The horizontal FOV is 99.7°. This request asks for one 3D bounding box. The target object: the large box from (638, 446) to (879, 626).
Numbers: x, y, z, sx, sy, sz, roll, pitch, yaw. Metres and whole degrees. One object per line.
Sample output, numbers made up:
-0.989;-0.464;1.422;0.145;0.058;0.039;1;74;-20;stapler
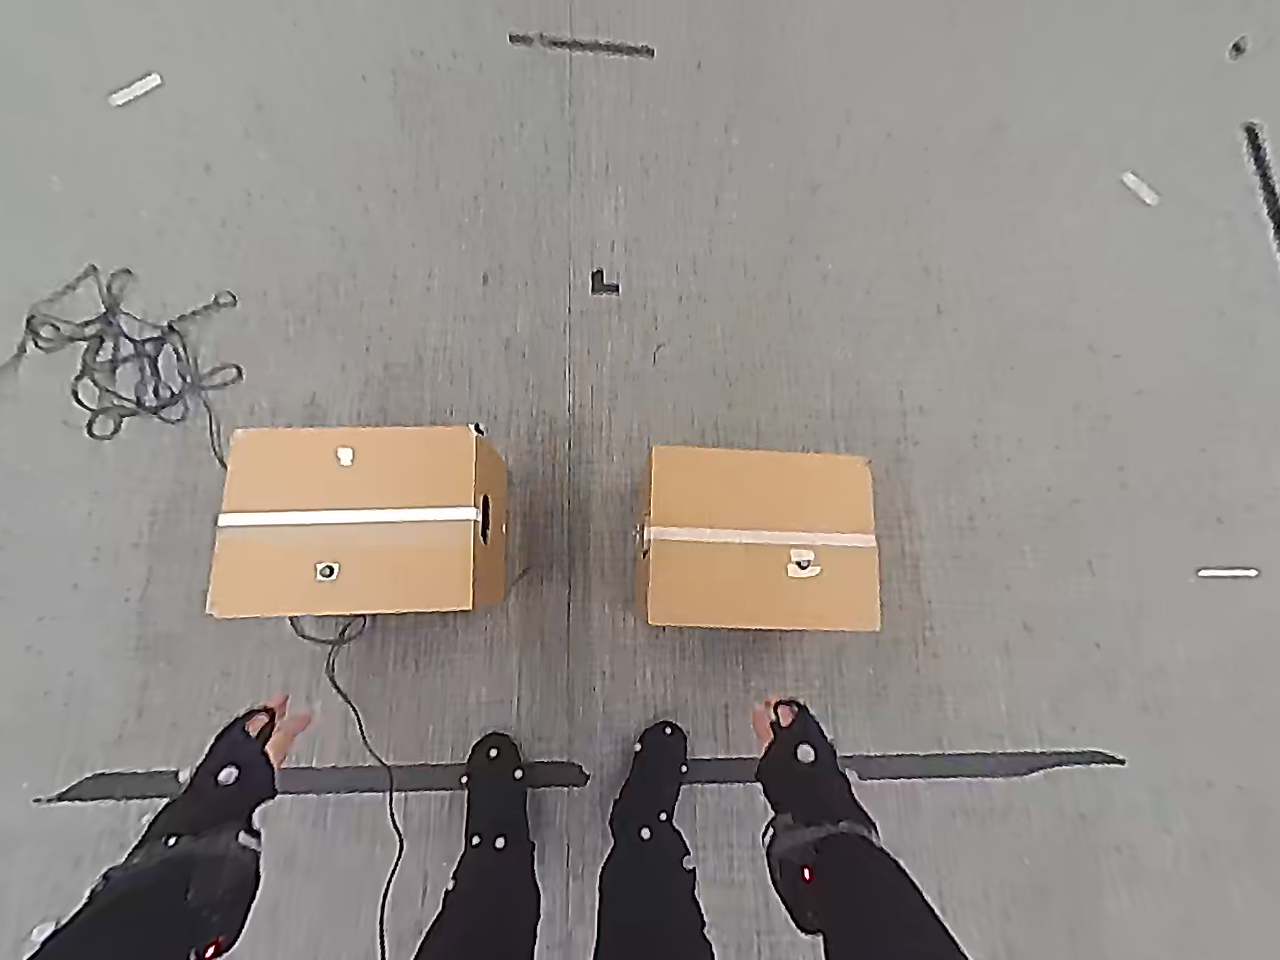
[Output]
0.208;0.128;1.098;0.408;0.320;0.320;3;78;-5;large box
